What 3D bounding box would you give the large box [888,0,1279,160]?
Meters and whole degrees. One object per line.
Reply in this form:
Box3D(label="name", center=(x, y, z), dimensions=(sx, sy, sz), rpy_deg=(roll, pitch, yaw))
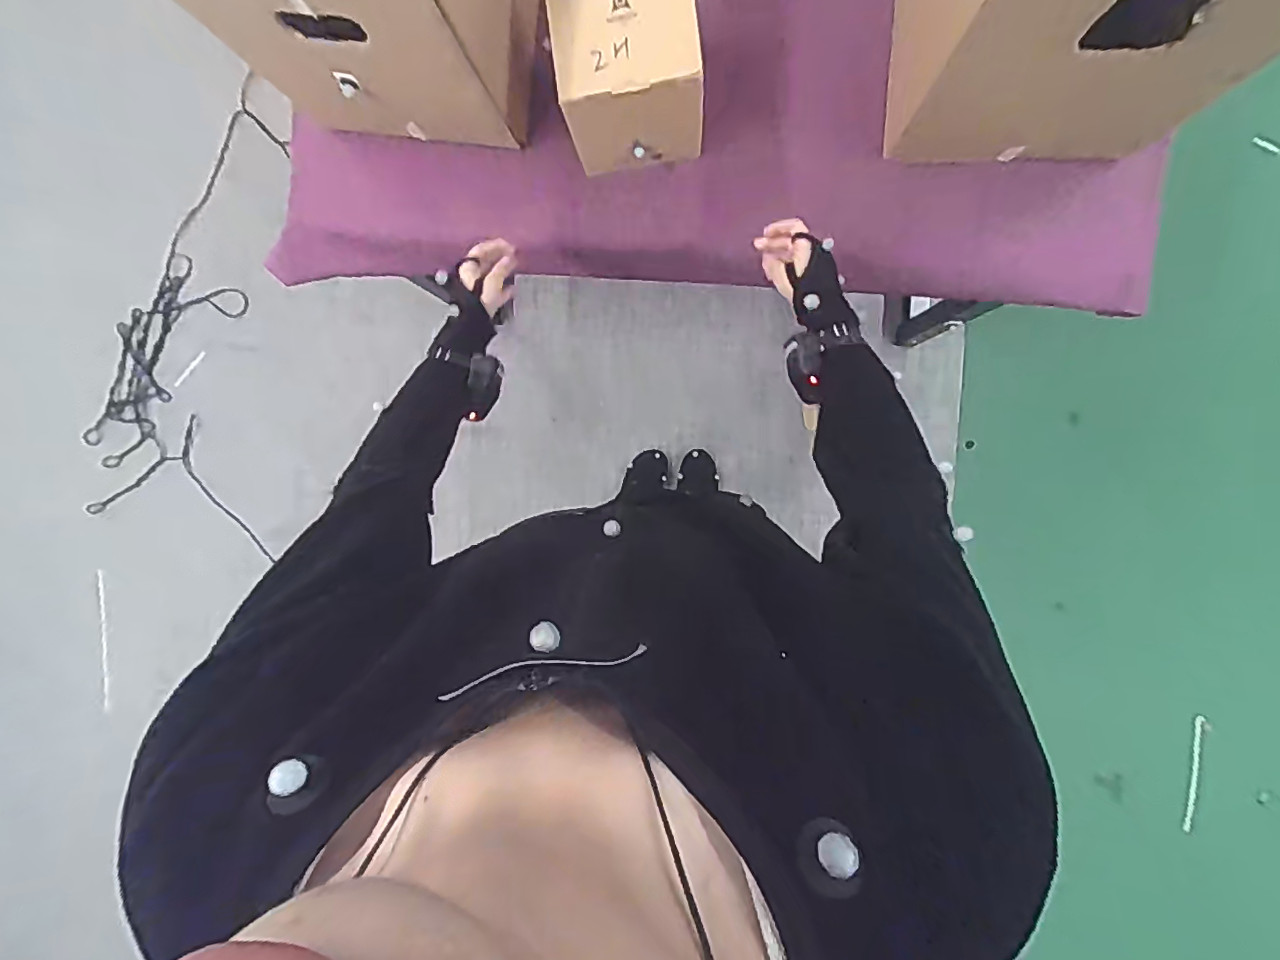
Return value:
Box3D(label="large box", center=(0.476, -0.617, 0.561), dimensions=(0.320, 0.320, 0.408), rpy_deg=(3, 94, 7))
